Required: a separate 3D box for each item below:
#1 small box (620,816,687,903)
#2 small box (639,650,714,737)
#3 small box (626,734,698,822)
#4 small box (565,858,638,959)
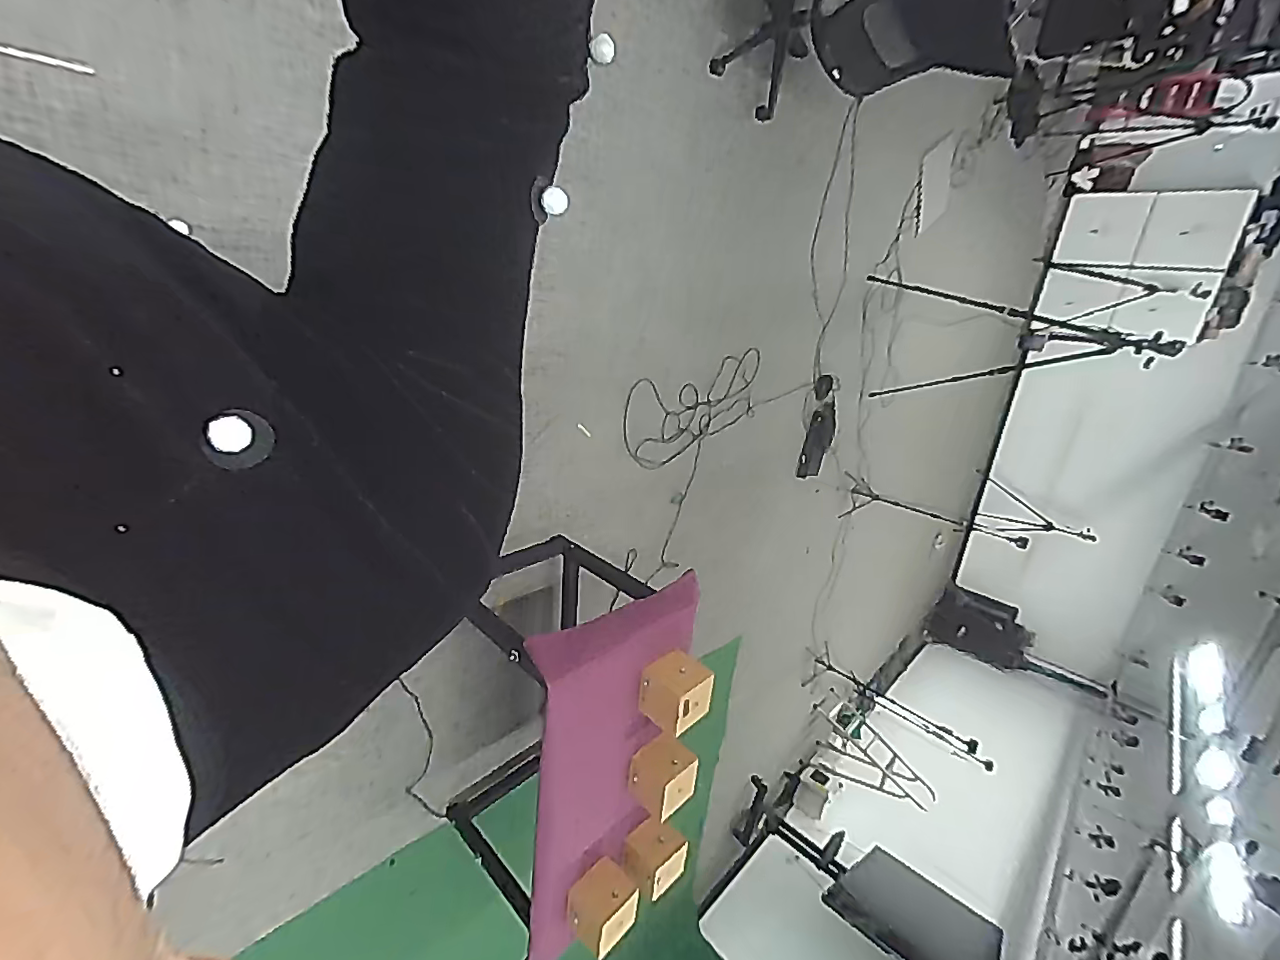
[{"bbox_3d":[0.048,1.406,2.024,0.179,0.176,0.168,-14,116,-44],"label":"small box"},{"bbox_3d":[0.115,0.692,1.771,0.179,0.176,0.168,-15,118,-44],"label":"small box"},{"bbox_3d":[0.077,1.029,1.886,0.179,0.176,0.168,-13,116,-44],"label":"small box"},{"bbox_3d":[-0.131,1.447,1.837,0.179,0.176,0.168,-12,115,-46],"label":"small box"}]
